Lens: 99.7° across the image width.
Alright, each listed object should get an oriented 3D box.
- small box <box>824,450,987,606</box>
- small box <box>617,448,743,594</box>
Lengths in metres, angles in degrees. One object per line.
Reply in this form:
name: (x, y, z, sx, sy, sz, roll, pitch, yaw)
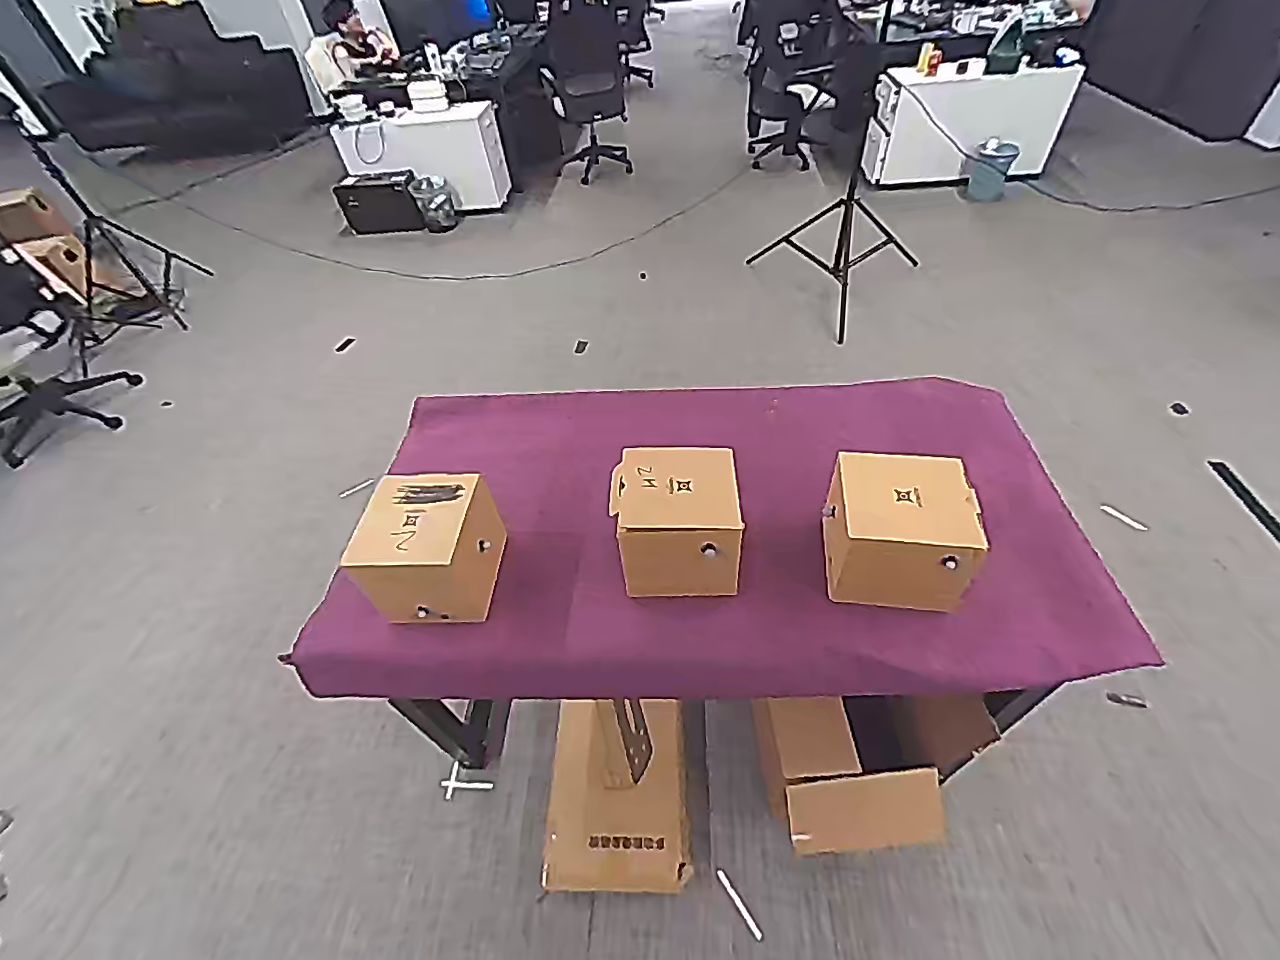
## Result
small box: (0.378, 0.074, 0.813, 0.179, 0.176, 0.168, 3, 48, 9)
small box: (0.062, 0.067, 0.854, 0.179, 0.176, 0.168, -2, 45, 4)
